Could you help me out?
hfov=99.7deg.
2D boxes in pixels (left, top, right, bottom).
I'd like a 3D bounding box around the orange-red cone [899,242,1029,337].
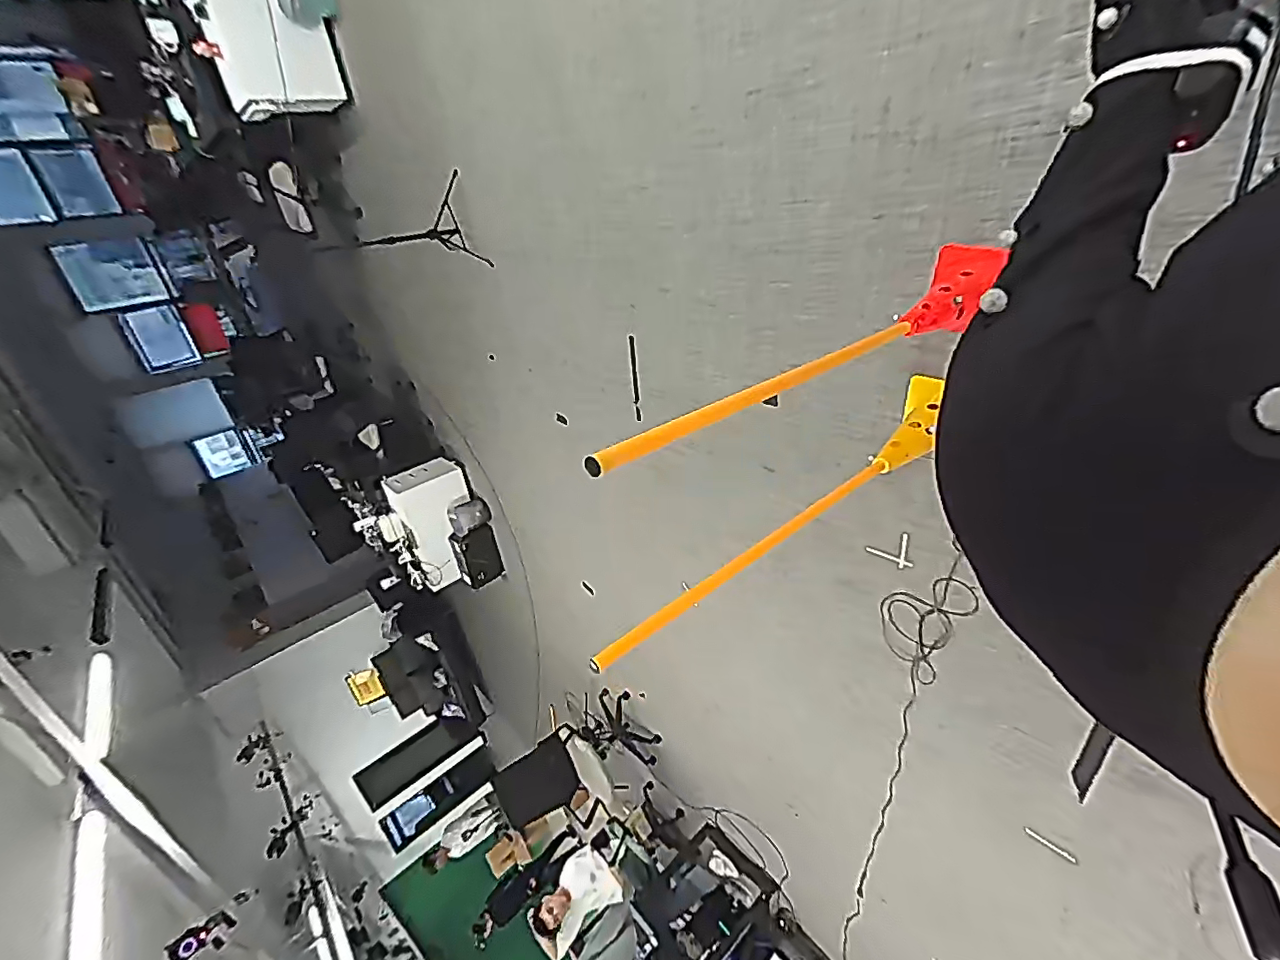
[{"bbox_3d":[0.669,-0.390,1.196,0.198,0.360,0.199,30,134,37],"label":"orange-red cone"}]
